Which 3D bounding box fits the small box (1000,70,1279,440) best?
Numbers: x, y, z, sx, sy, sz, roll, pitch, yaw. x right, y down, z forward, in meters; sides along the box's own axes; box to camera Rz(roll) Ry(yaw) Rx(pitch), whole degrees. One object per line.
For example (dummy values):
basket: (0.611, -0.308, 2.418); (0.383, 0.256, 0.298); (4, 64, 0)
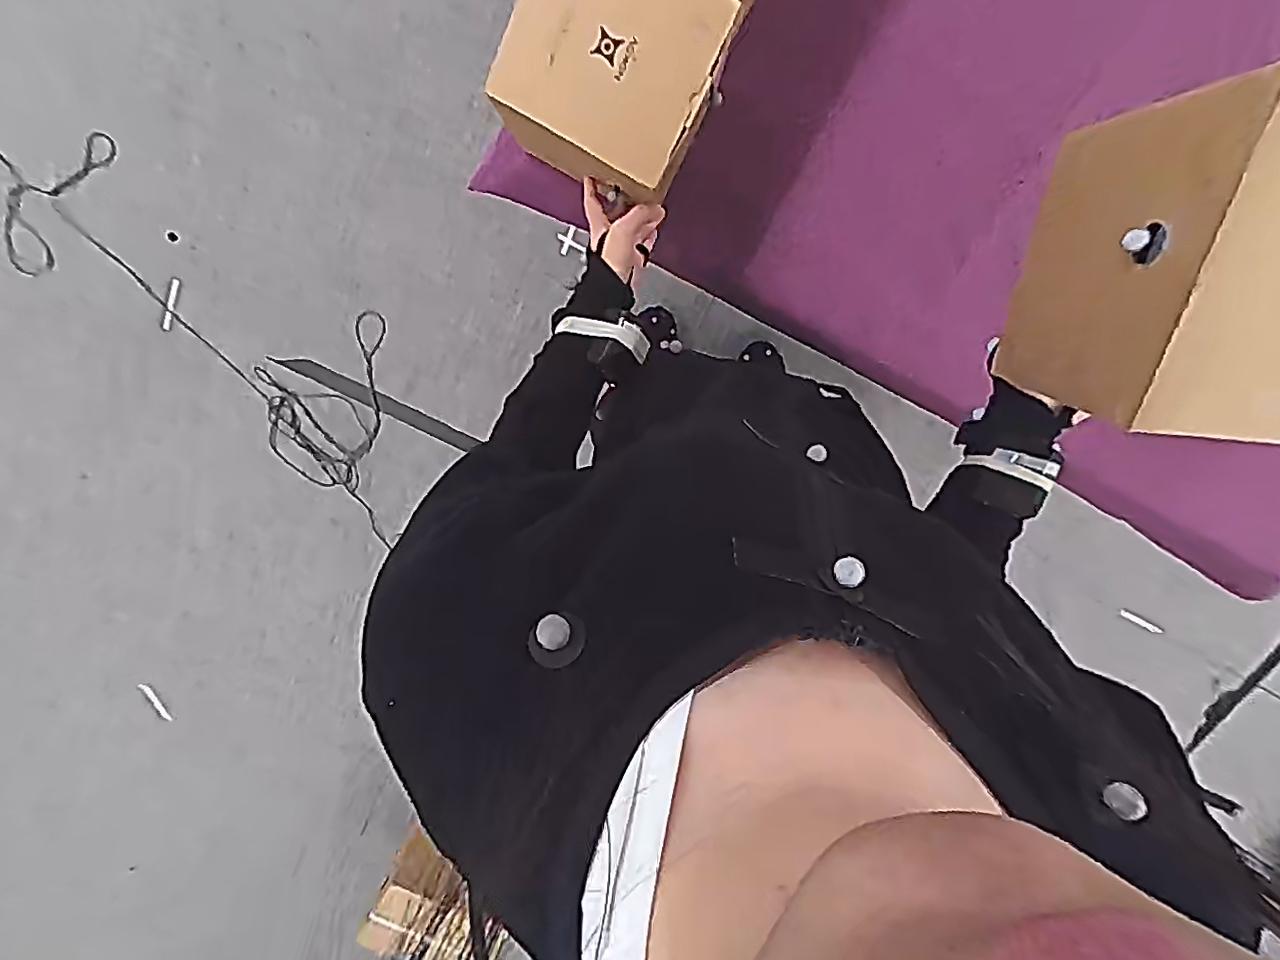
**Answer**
small box: (0.374, -0.132, 0.347); (0.168, 0.176, 0.179); (6, 113, 4)
